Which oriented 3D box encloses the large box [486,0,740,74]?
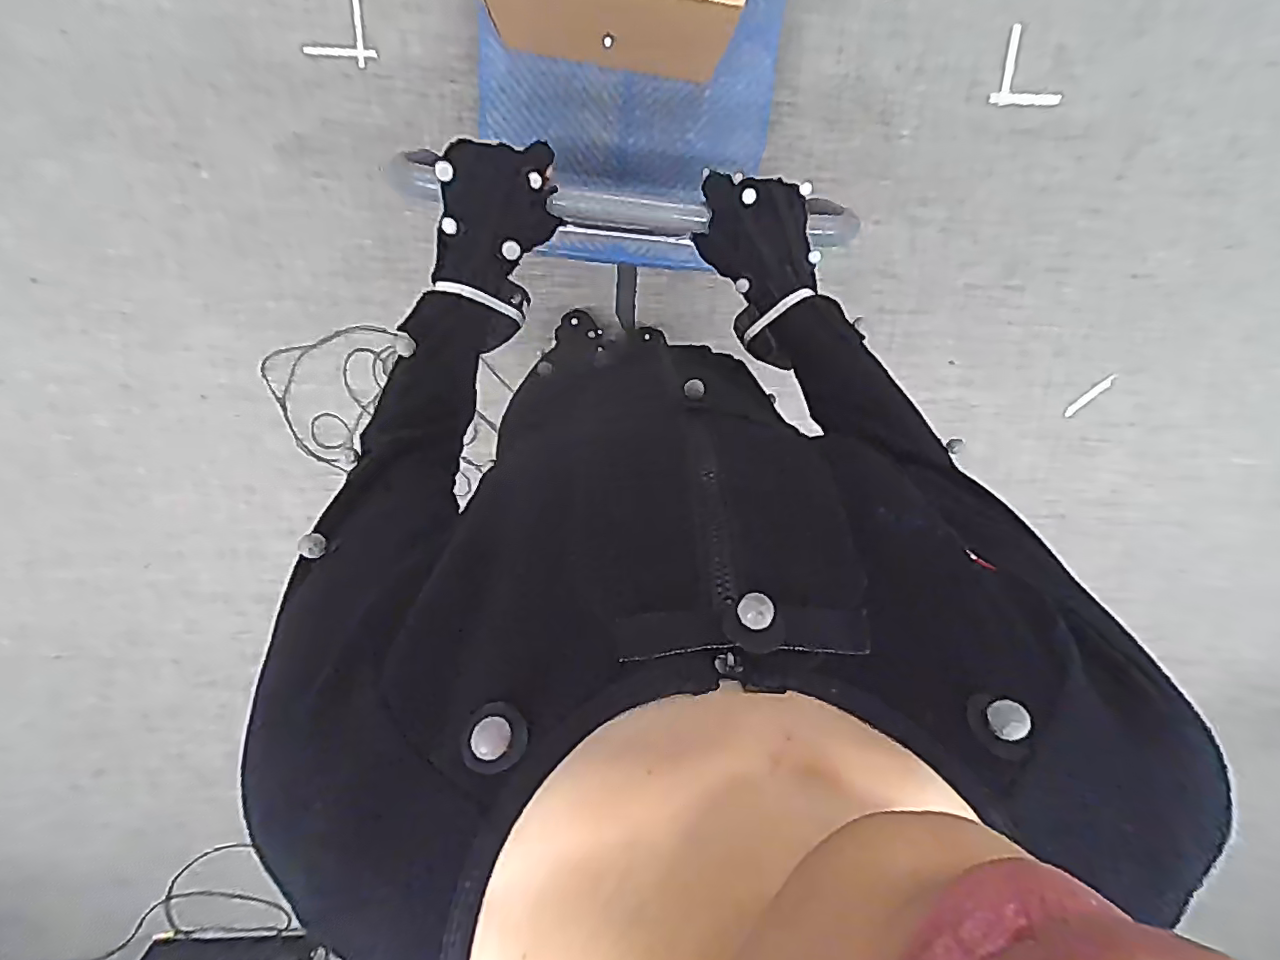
[{"bbox_3d":[-0.037,-0.909,0.868,0.408,0.320,0.320,6,108,-5],"label":"large box"}]
